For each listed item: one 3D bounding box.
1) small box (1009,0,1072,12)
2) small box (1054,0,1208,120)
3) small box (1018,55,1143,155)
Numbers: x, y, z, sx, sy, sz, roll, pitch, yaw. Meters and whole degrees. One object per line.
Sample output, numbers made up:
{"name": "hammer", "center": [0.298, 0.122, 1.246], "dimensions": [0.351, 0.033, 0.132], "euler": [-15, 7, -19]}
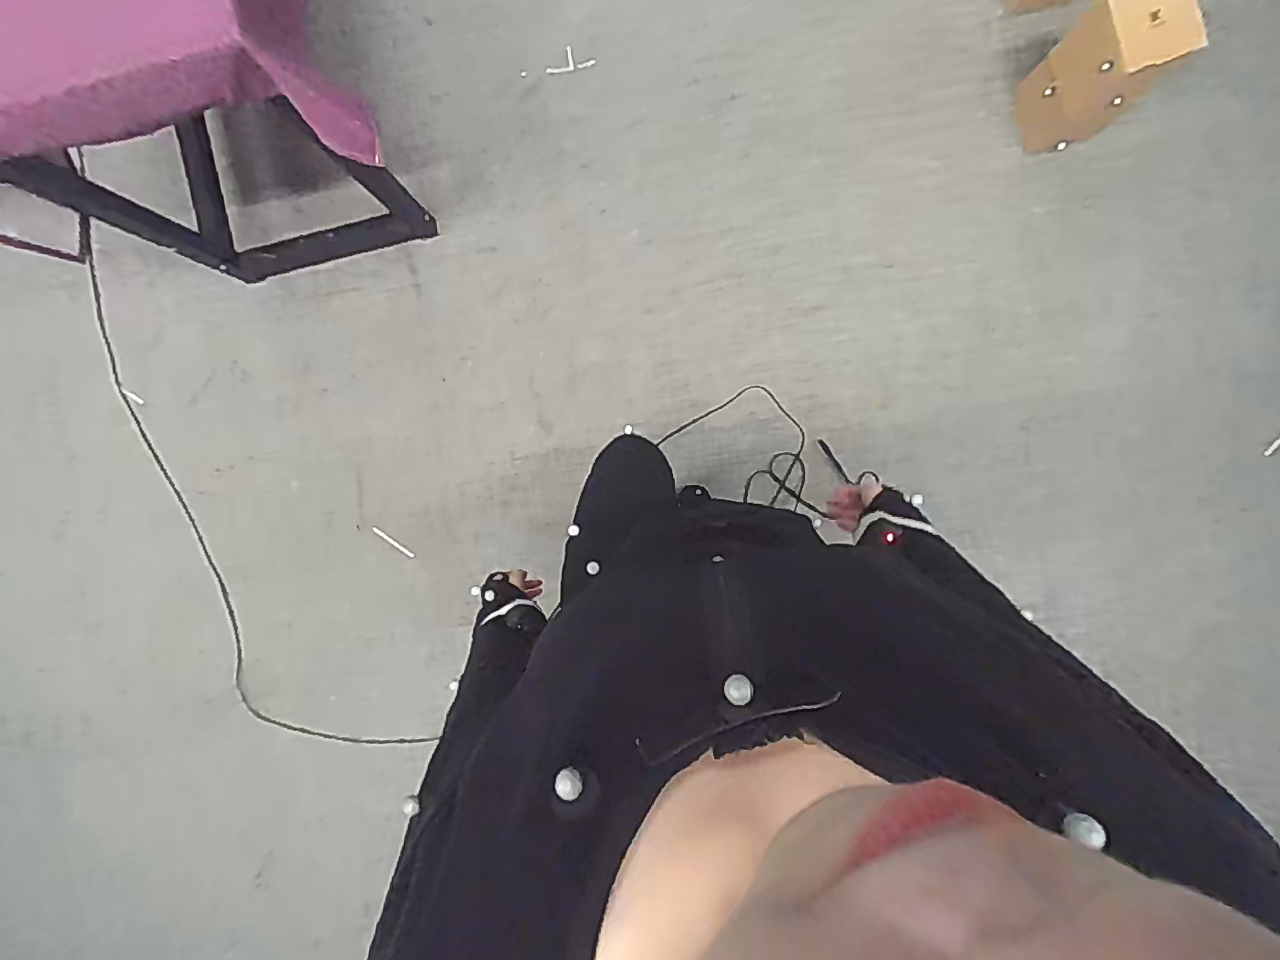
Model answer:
{"name": "small box", "center": [1.030, -1.301, 1.323], "dimensions": [0.179, 0.176, 0.168], "euler": [-9, 92, 3]}
{"name": "small box", "center": [1.051, -0.938, 1.175], "dimensions": [0.168, 0.176, 0.179], "euler": [-17, 92, 4]}
{"name": "small box", "center": [1.075, -0.950, 1.335], "dimensions": [0.168, 0.176, 0.179], "euler": [-12, 92, 4]}
